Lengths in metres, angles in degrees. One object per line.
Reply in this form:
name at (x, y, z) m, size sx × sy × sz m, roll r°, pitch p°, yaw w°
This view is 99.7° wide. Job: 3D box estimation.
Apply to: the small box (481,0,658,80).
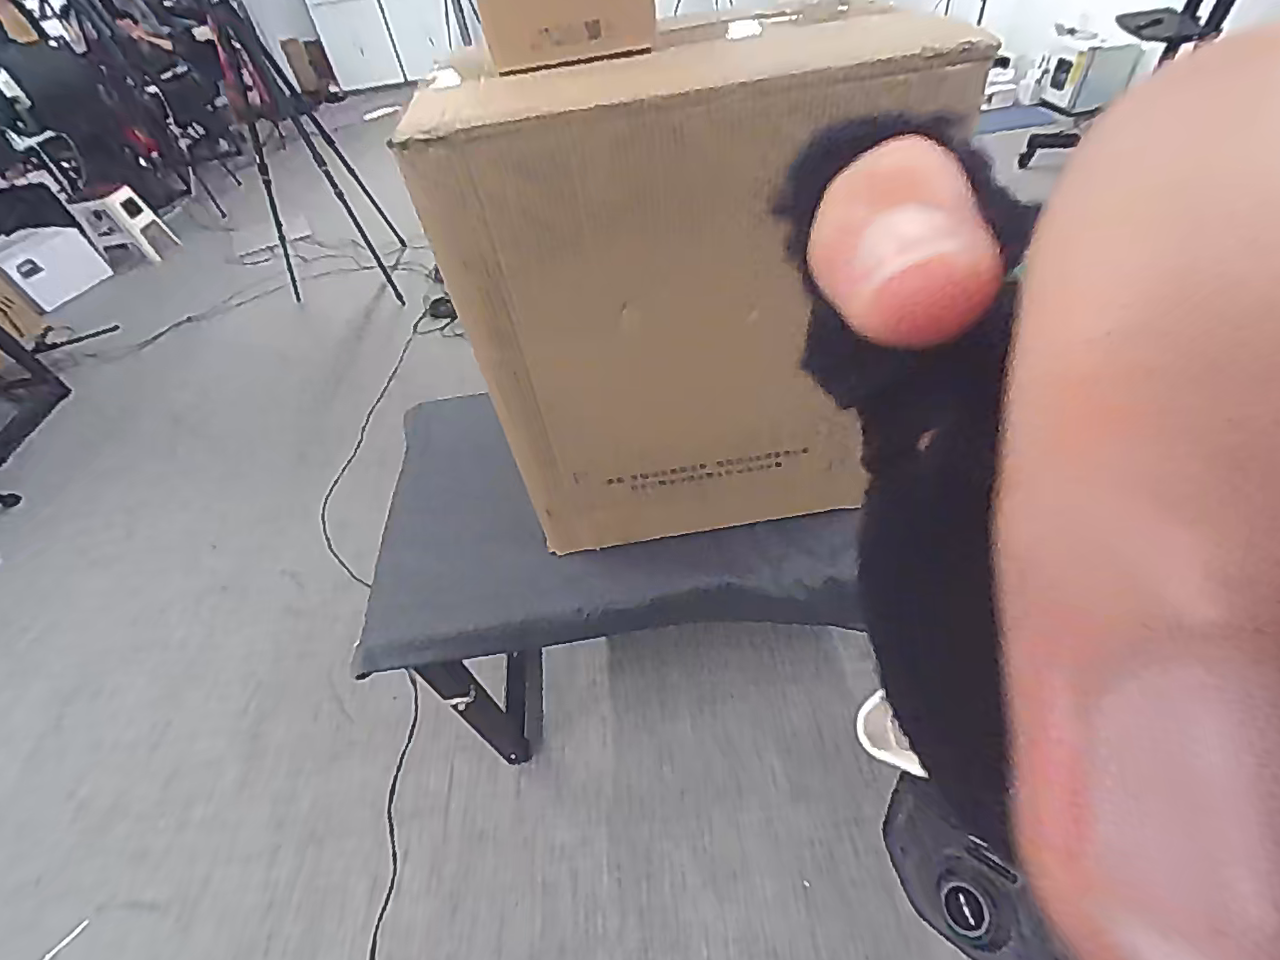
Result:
small box at (-0.076, -0.525, 0.544) m, size 0.168 × 0.176 × 0.179 m, roll -8°, pitch 45°, yaw 2°
